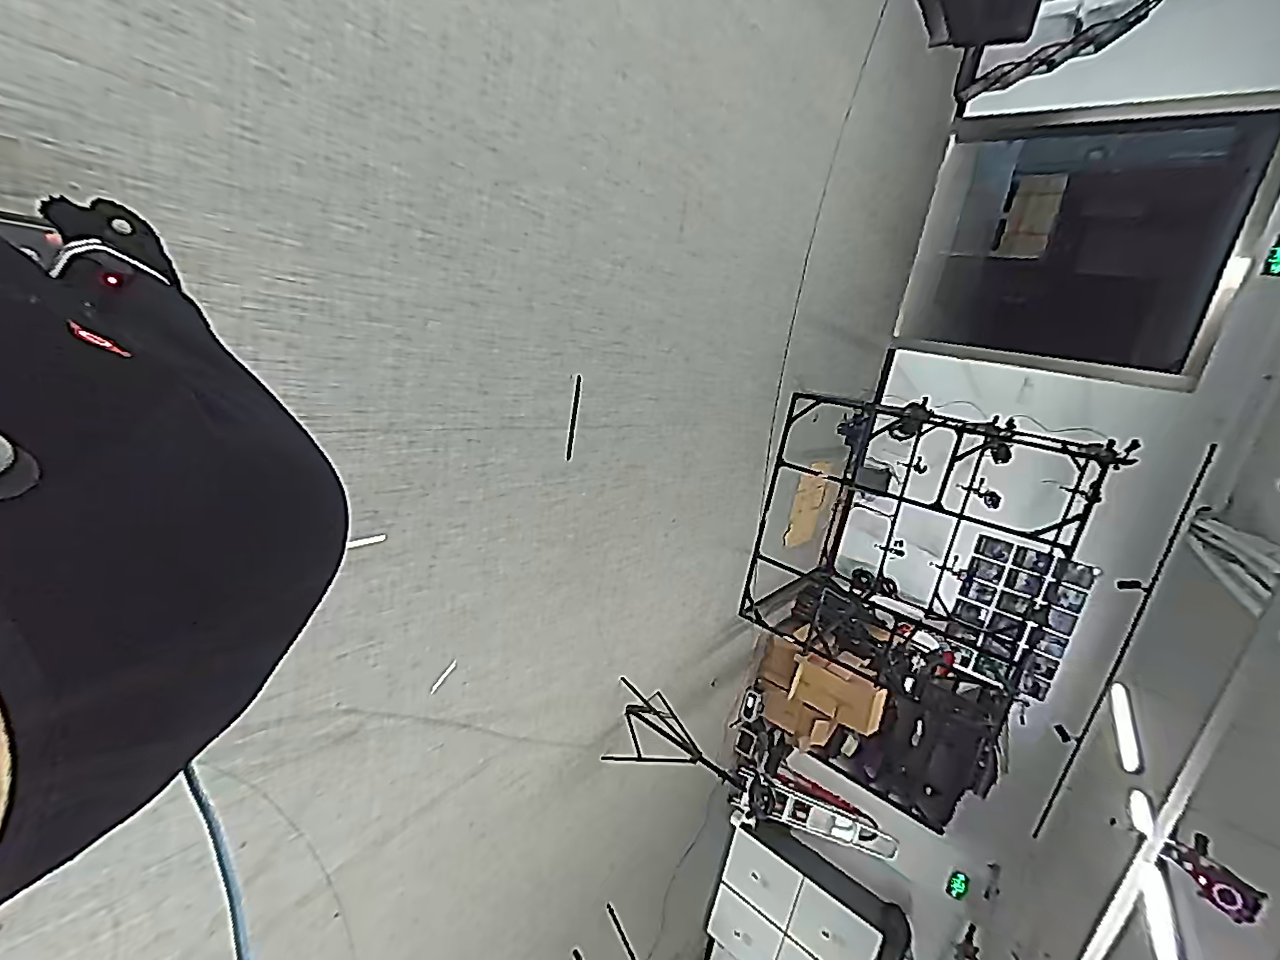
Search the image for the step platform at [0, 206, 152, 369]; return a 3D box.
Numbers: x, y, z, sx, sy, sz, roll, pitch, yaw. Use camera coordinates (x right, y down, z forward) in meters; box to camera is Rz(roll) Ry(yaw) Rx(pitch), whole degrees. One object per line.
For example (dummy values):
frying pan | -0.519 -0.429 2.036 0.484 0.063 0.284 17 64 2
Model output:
step platform | -1.278 -0.351 0.906 0.684 0.204 0.286 -11 116 -53
